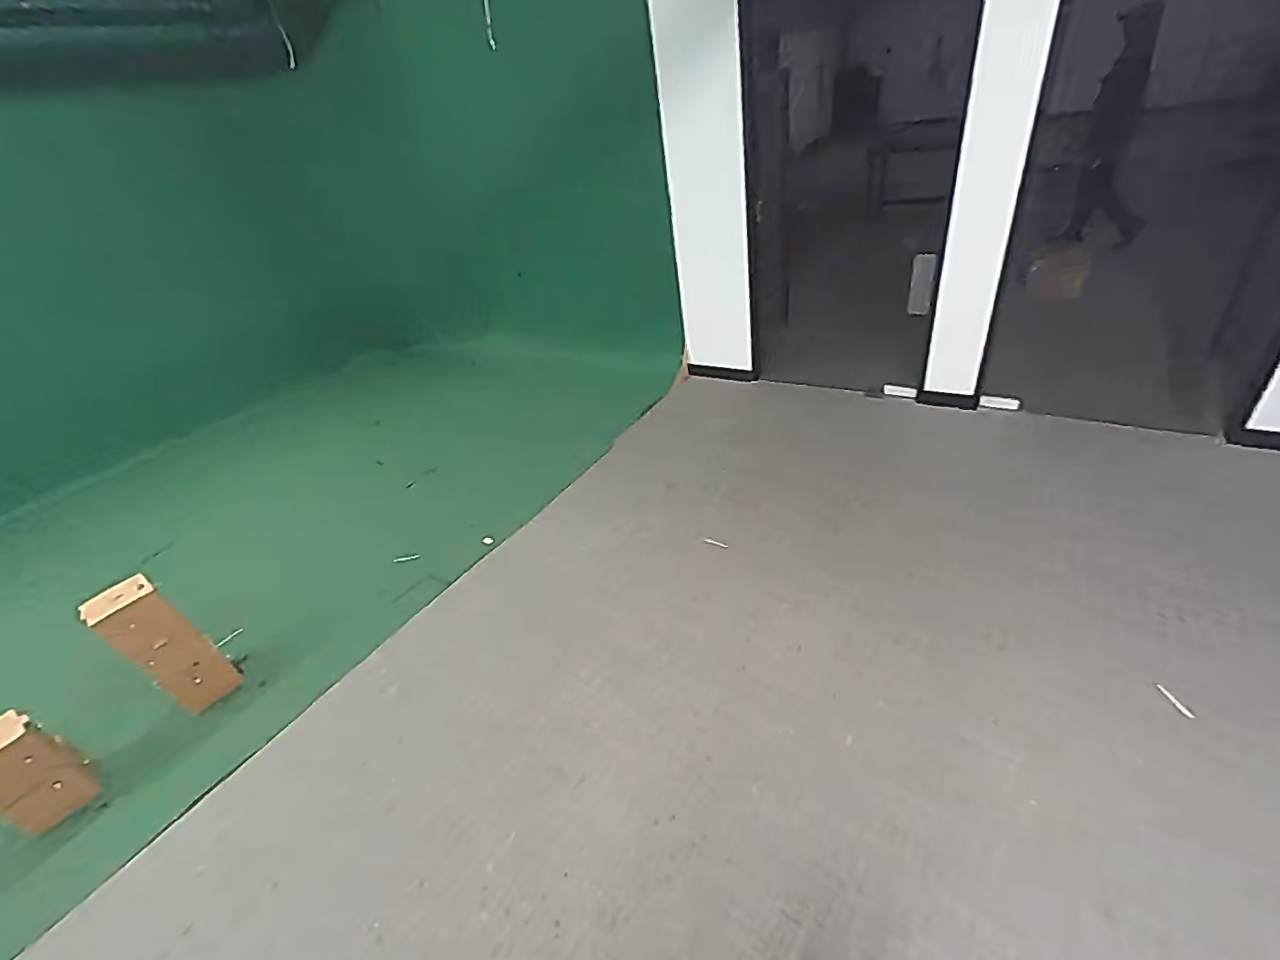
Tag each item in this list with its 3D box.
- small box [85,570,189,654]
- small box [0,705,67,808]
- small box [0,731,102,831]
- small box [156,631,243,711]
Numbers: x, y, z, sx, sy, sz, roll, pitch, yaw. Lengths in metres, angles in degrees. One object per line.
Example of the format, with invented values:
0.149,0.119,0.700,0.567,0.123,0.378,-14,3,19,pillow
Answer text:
-1.641,0.433,1.768,0.168,0.176,0.179,17,44,35,small box
-1.841,0.804,1.576,0.168,0.176,0.179,13,41,31,small box
-1.825,0.932,1.675,0.168,0.176,0.179,20,45,37,small box
-1.586,0.694,1.960,0.168,0.176,0.179,19,44,35,small box
